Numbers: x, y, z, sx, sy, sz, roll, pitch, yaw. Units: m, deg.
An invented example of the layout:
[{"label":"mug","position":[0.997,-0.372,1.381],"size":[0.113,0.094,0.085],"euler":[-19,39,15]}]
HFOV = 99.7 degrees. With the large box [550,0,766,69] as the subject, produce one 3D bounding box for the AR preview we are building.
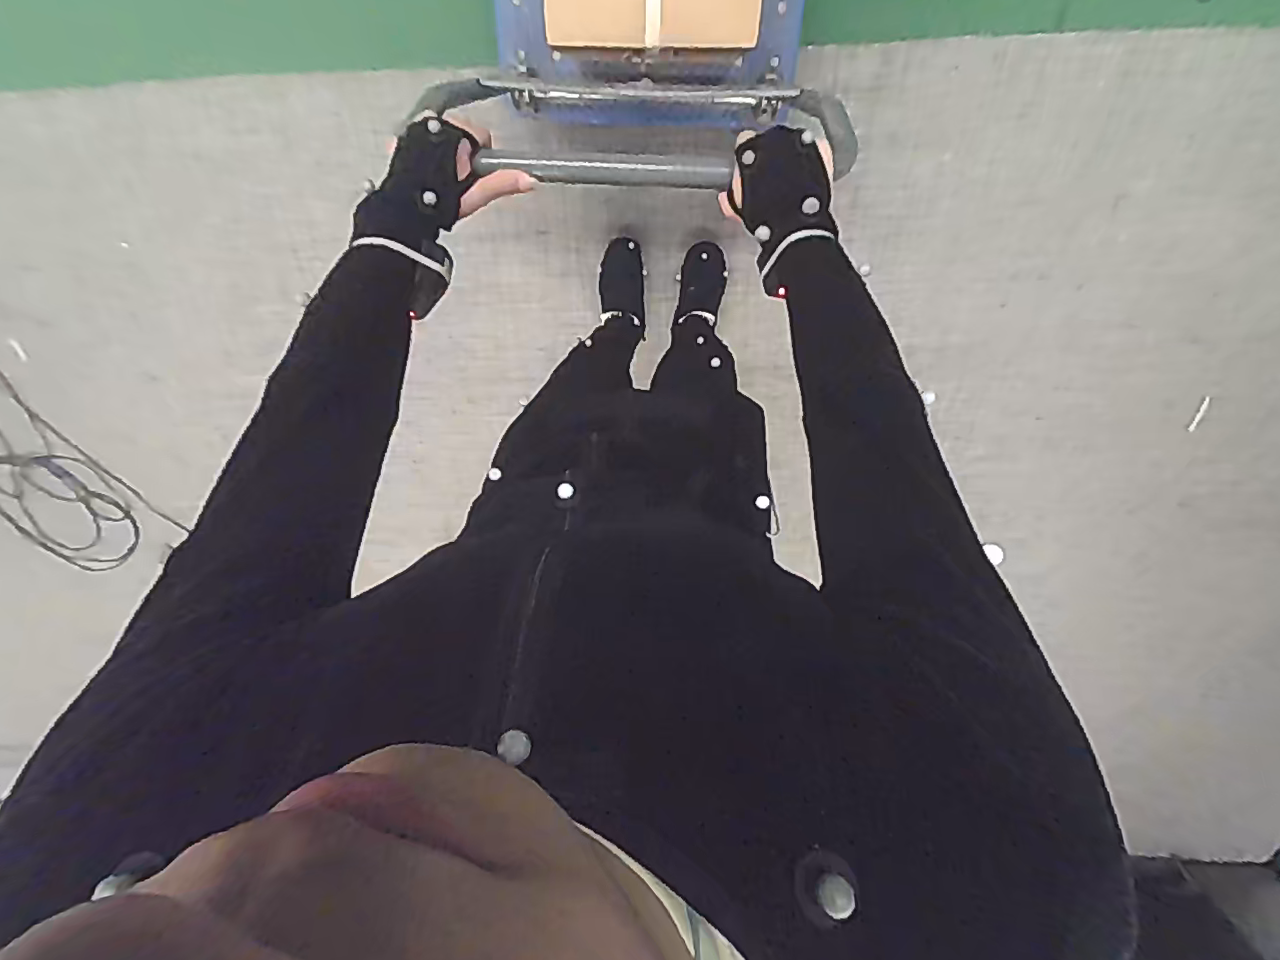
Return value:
[{"label":"large box","position":[0.035,-0.883,0.817],"size":[0.320,0.320,0.408],"euler":[2,124,1]}]
